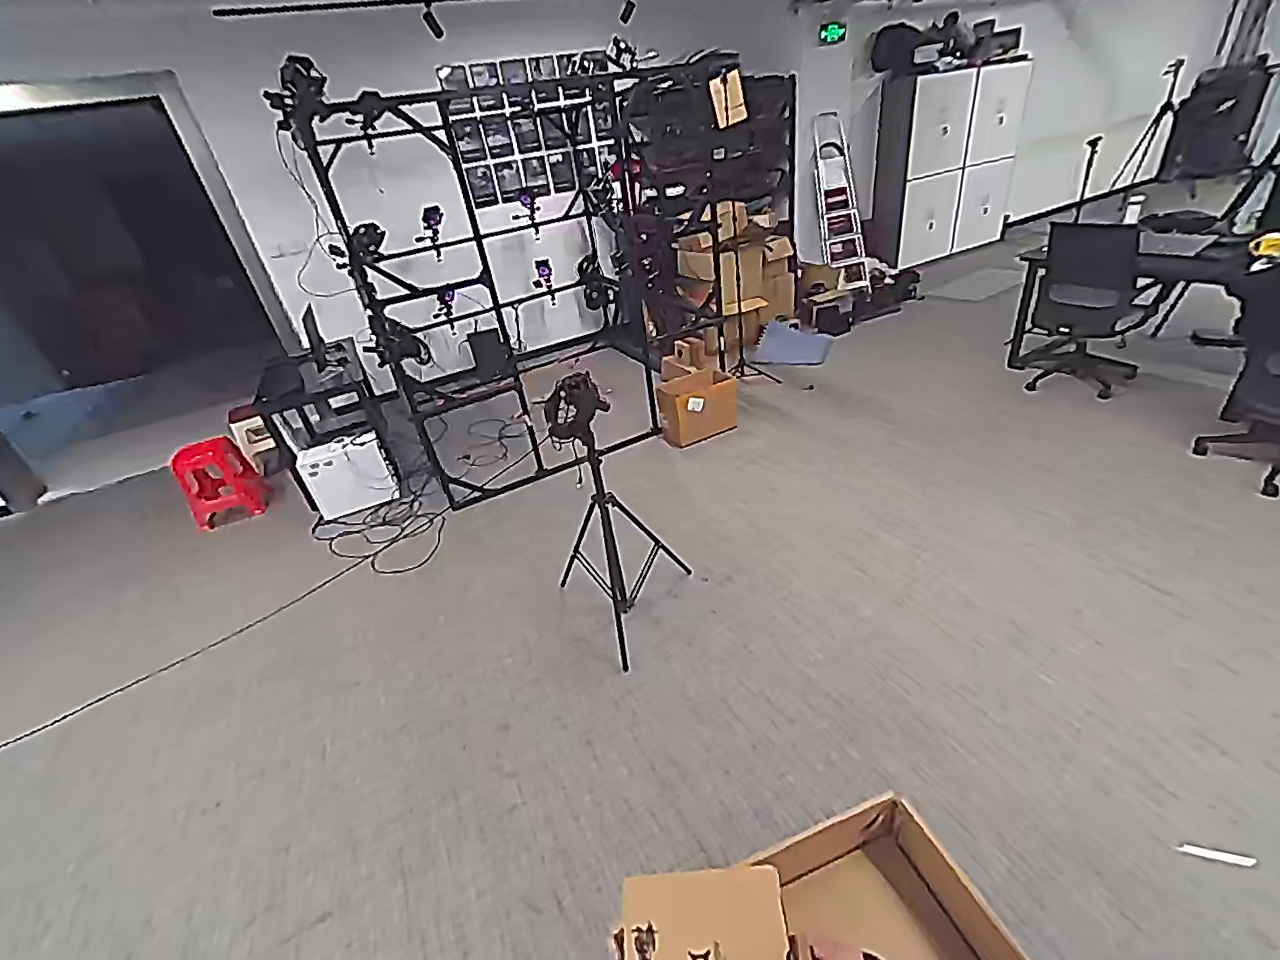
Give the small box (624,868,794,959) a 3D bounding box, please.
[{"bbox_3d":[0.075,0.555,0.597,0.179,0.176,0.168,-5,38,1],"label":"small box"}]
